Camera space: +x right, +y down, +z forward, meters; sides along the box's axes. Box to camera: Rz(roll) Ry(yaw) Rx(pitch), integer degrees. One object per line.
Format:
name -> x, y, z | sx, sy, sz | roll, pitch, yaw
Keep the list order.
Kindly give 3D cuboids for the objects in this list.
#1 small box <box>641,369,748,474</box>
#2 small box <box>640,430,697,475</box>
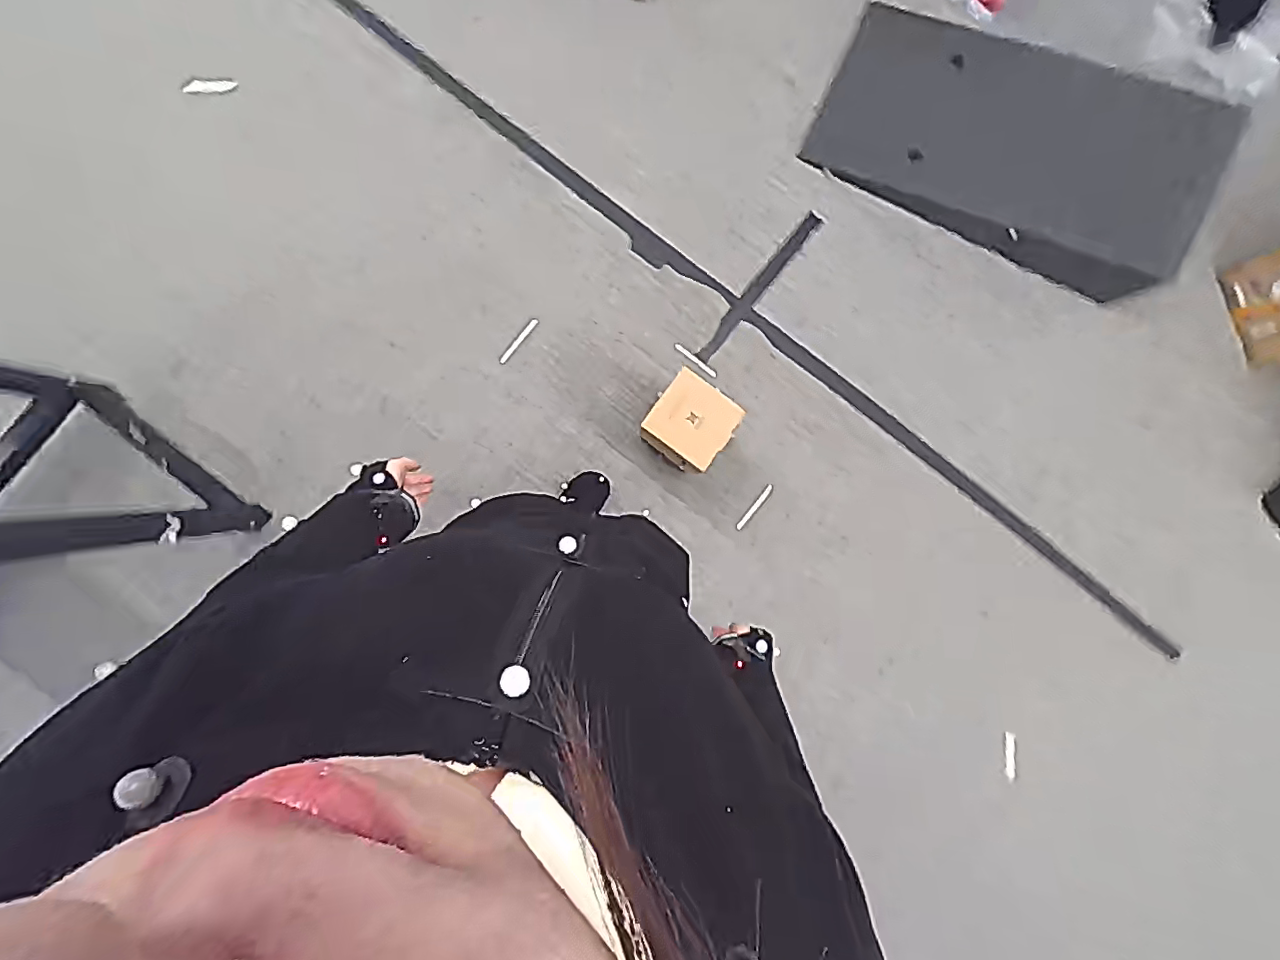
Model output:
small box -> 0.119, -0.129, 1.250 | 0.179, 0.176, 0.168 | 37, 89, -1
small box -> 0.117, -0.132, 1.413 | 0.179, 0.176, 0.168 | 39, 89, -2
